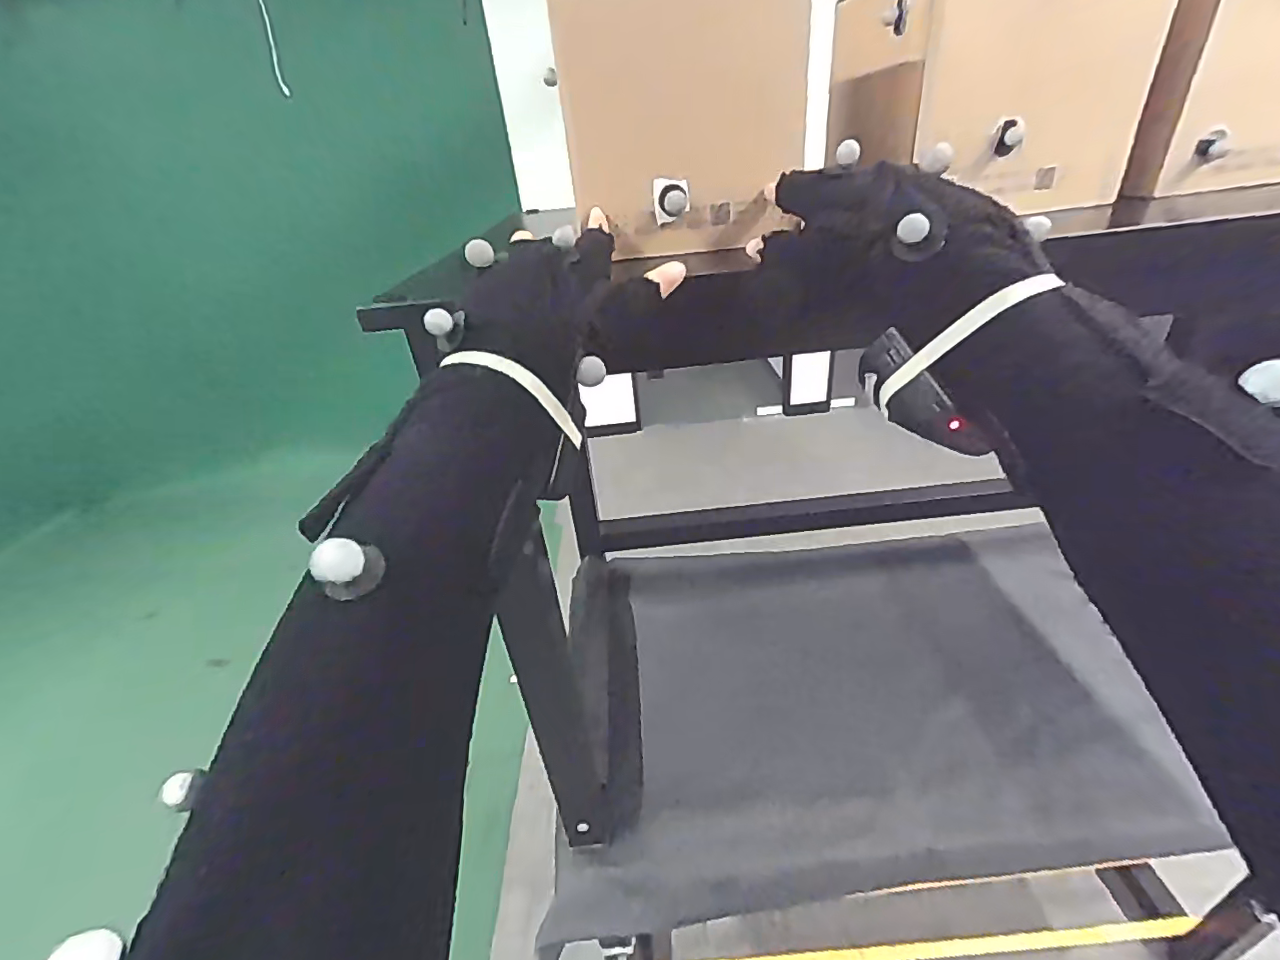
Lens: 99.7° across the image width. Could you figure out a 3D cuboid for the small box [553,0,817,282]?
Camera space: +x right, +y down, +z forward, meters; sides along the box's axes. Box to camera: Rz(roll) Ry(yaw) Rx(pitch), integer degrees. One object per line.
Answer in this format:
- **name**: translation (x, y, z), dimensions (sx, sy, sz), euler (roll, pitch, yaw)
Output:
- **small box**: translation (0.030, -0.268, 0.441), dimensions (0.168, 0.176, 0.179), euler (-7, 32, 0)
